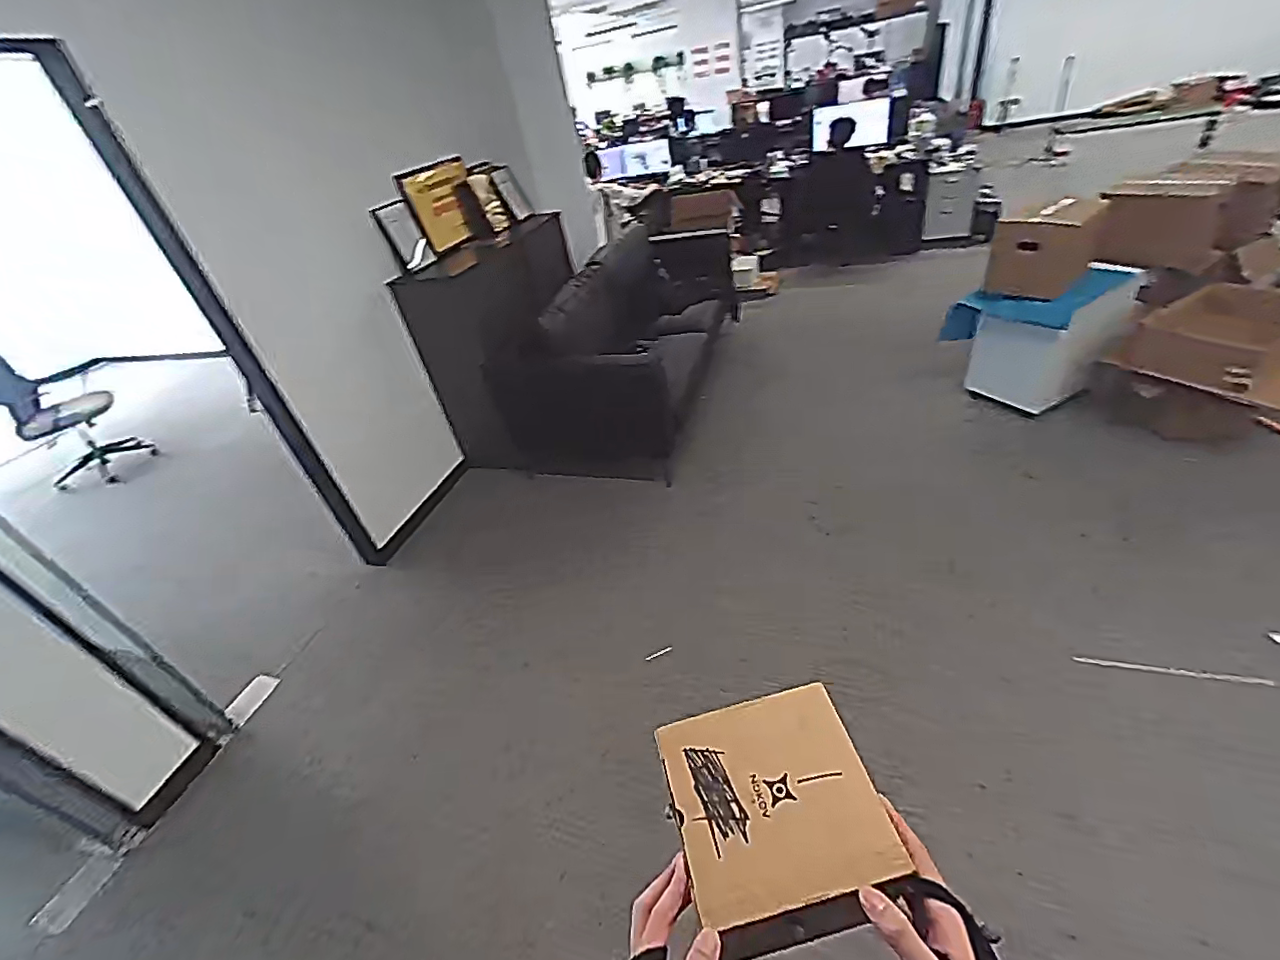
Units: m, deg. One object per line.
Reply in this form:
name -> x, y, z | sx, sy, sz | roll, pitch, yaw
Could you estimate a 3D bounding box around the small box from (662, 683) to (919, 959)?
small box -> 0.133, 0.332, 0.522 | 0.179, 0.176, 0.168 | -14, 40, -3
